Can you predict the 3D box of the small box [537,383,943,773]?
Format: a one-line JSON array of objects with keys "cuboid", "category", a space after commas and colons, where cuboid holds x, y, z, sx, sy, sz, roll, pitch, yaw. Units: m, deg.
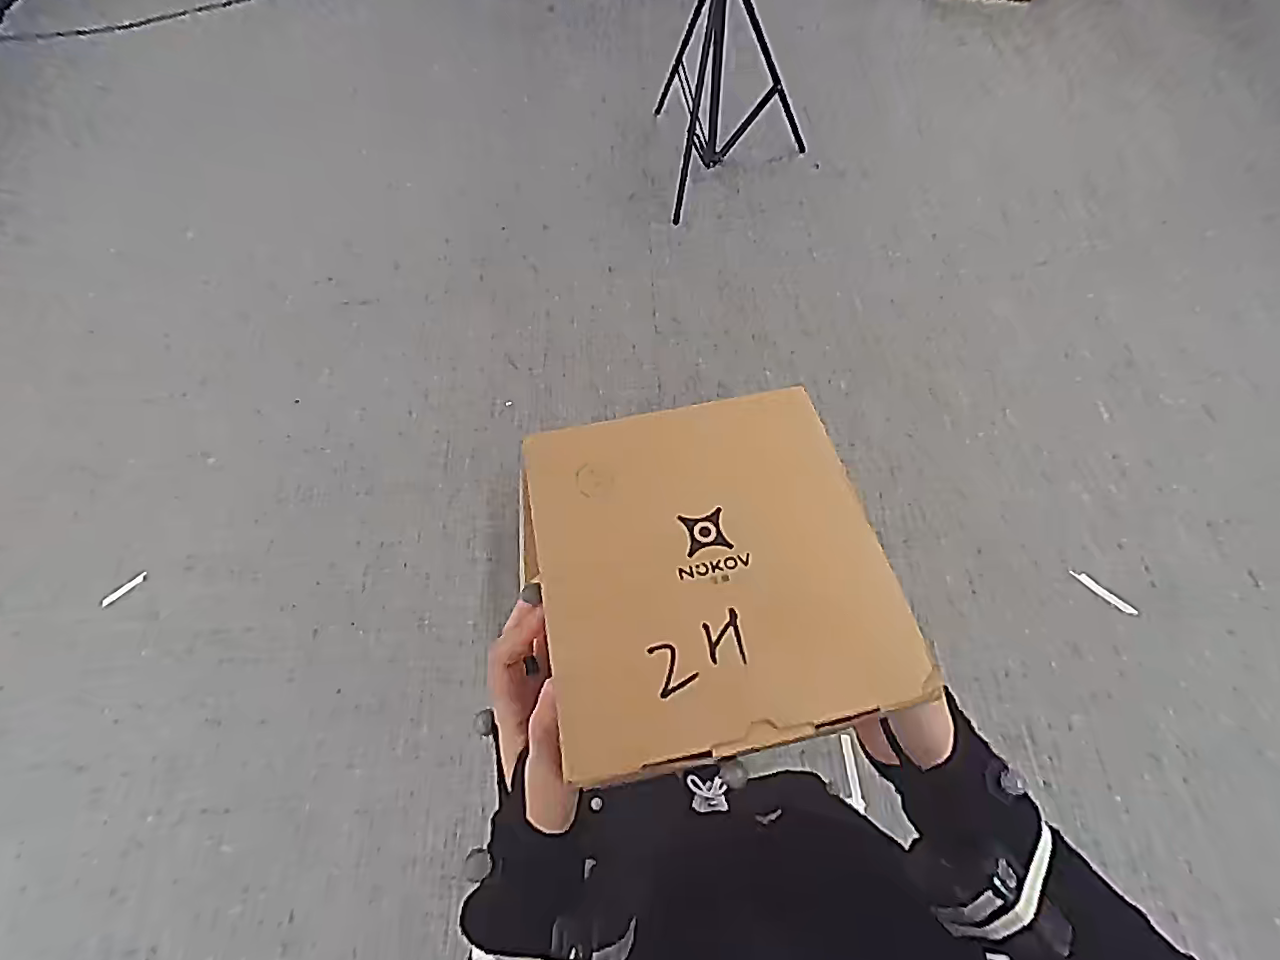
[{"cuboid": [0.037, 0.069, 0.338, 0.168, 0.176, 0.179, -11, 61, -5], "category": "small box"}]
